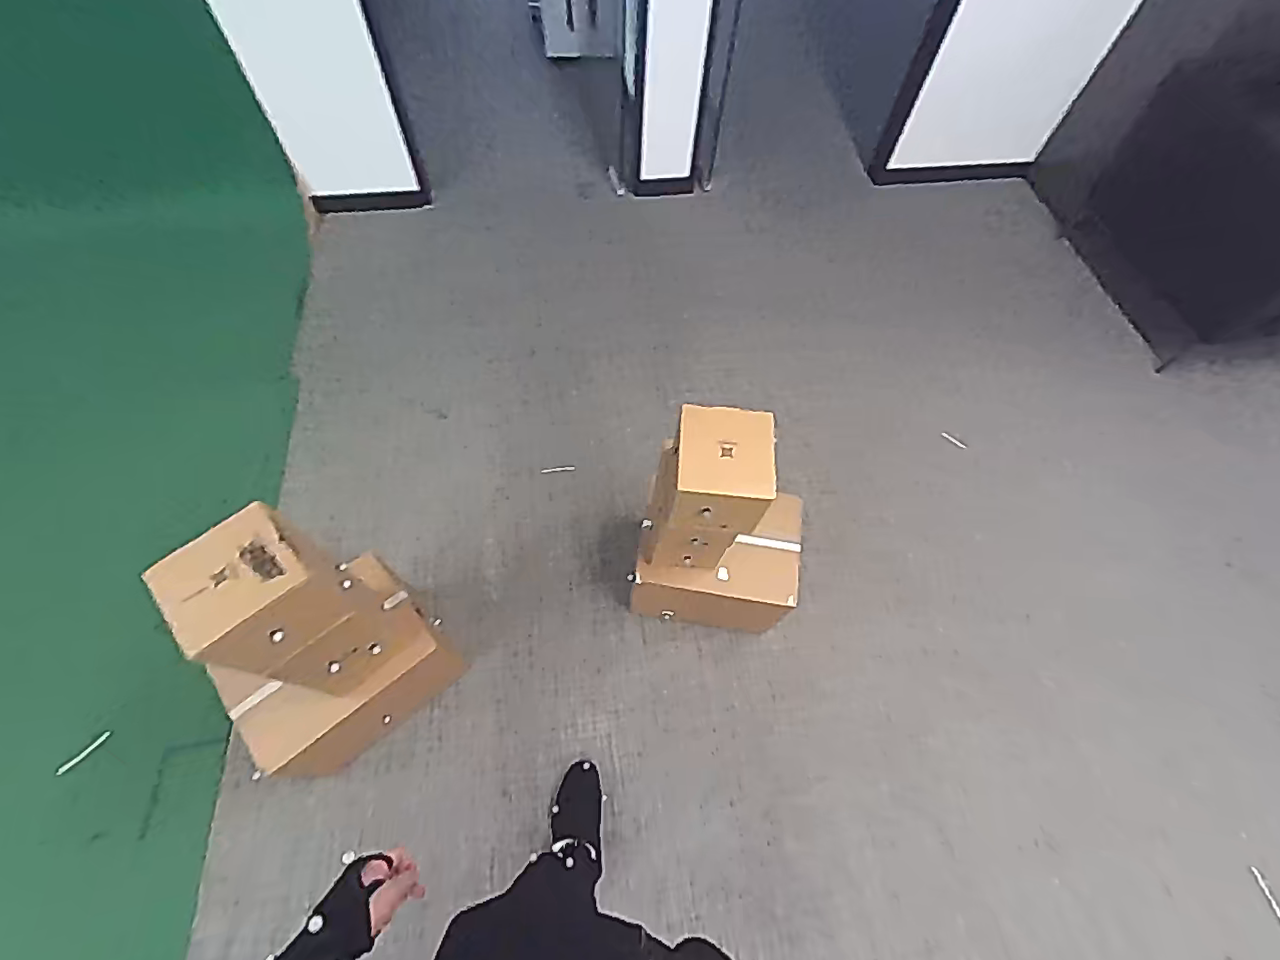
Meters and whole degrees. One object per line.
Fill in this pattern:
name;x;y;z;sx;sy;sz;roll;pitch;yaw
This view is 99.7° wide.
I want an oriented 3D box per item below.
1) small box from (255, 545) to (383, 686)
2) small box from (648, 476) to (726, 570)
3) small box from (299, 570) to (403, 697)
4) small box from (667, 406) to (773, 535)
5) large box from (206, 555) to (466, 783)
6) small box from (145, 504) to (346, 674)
small box;-0.609;0.251;0.989;0.168;0.176;0.179;-36;70;-20
small box;0.109;0.109;1.299;0.168;0.176;0.179;3;62;-2
small box;-0.624;0.325;1.133;0.179;0.176;0.168;-38;69;-21
small box;0.141;-0.011;0.994;0.168;0.176;0.179;5;62;-1
large box;-0.711;0.466;1.333;0.408;0.320;0.320;-38;68;-20
small box;-0.595;0.174;0.846;0.179;0.176;0.168;-38;70;-19
